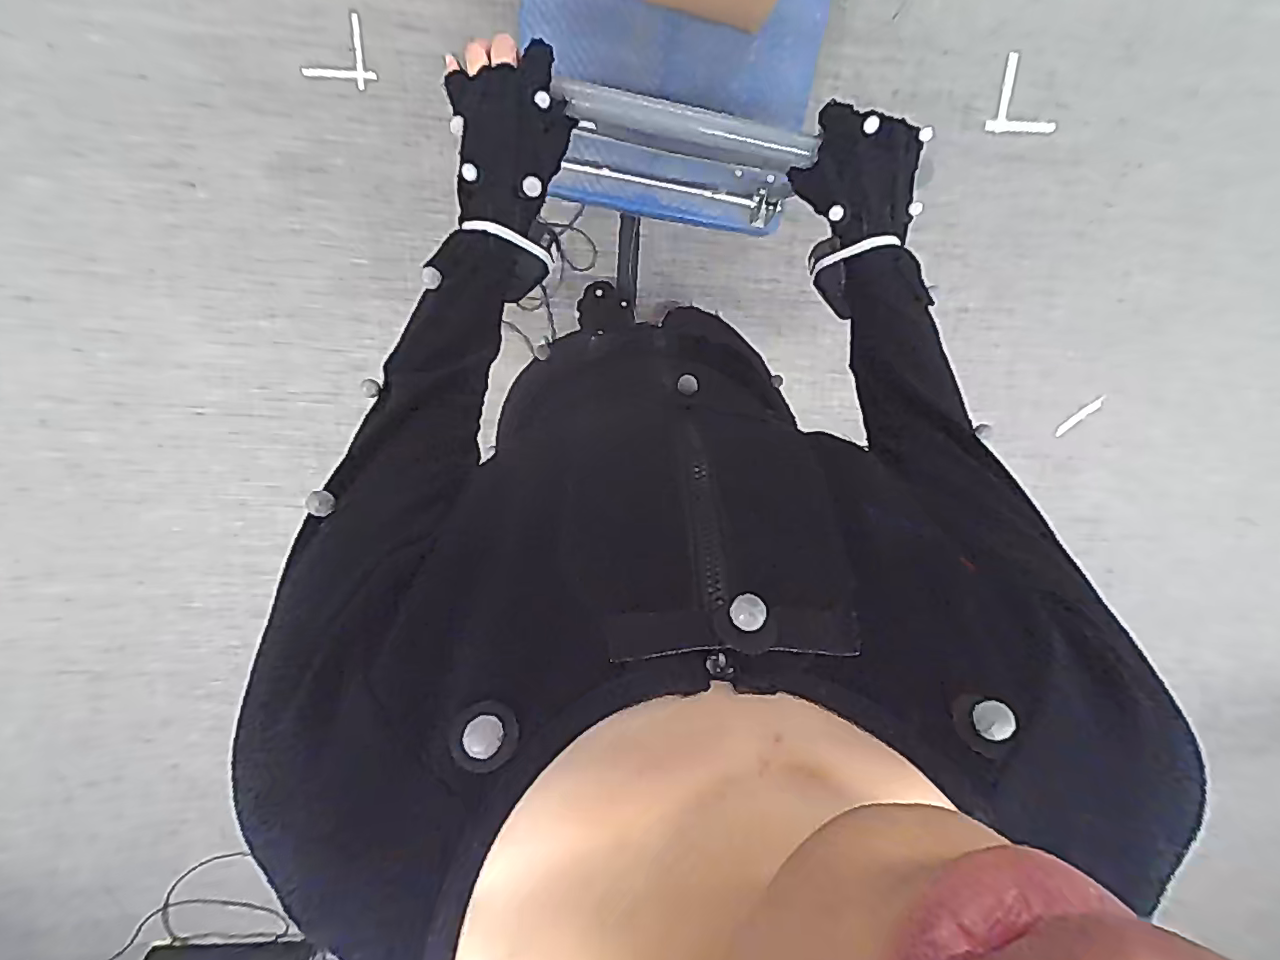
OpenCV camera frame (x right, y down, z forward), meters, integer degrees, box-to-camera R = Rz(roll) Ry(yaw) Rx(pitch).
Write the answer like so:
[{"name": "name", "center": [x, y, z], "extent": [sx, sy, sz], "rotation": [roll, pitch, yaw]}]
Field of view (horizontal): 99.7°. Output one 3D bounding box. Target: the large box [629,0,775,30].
[{"name": "large box", "center": [0.068, -0.990, 0.845], "extent": [0.408, 0.320, 0.320], "rotation": [10, 108, -7]}]
